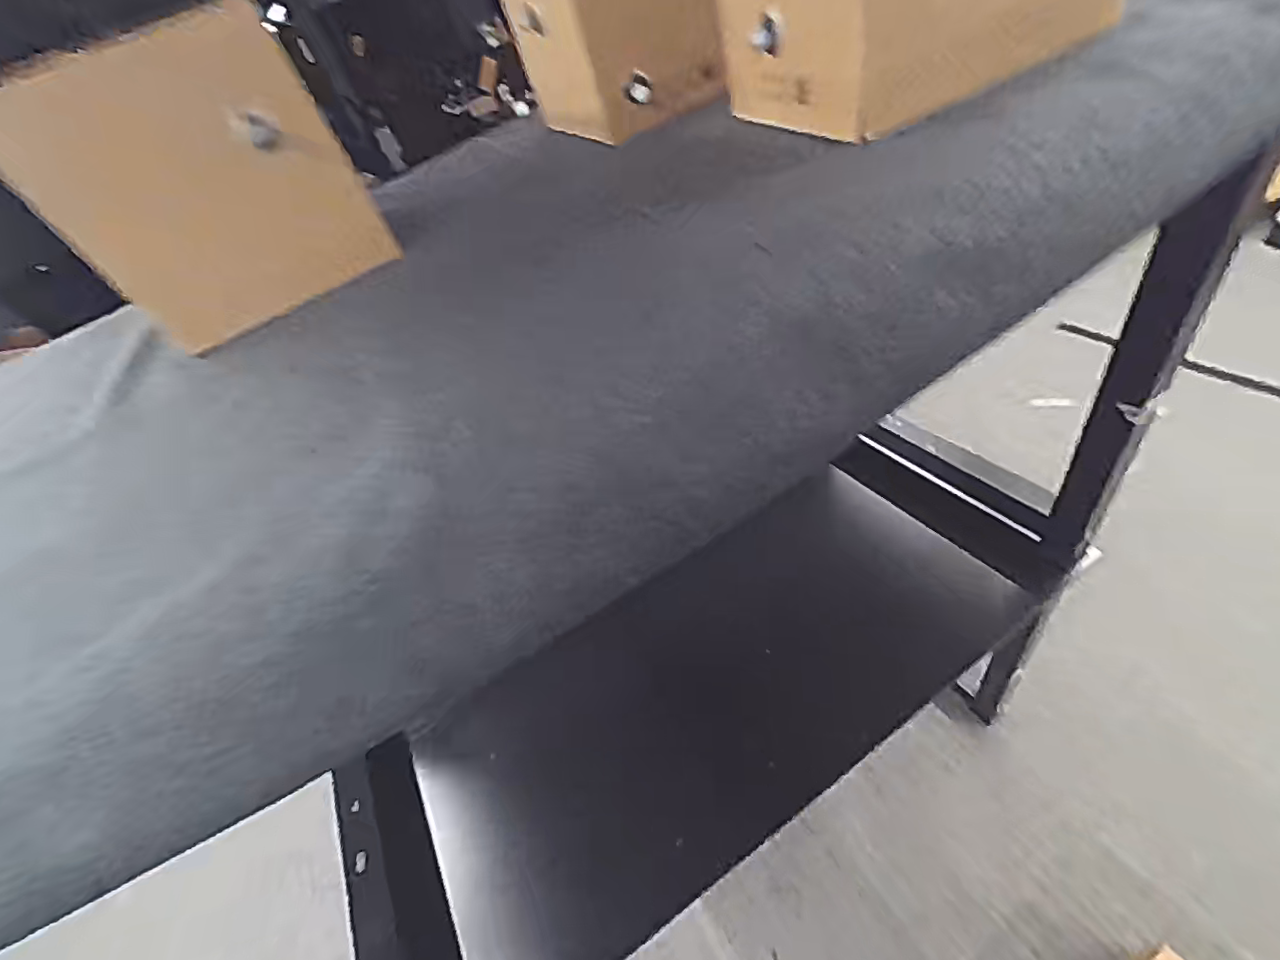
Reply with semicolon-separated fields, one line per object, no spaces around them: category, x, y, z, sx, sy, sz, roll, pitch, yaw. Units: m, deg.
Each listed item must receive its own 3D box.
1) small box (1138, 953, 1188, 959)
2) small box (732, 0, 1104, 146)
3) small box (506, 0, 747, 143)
small box;0.907;0.940;0.902;0.179;0.176;0.168;-35;45;-11
small box;0.160;-0.333;0.322;0.179;0.176;0.168;-26;42;-2
small box;-0.012;-0.431;0.489;0.168;0.176;0.179;-31;43;-8
